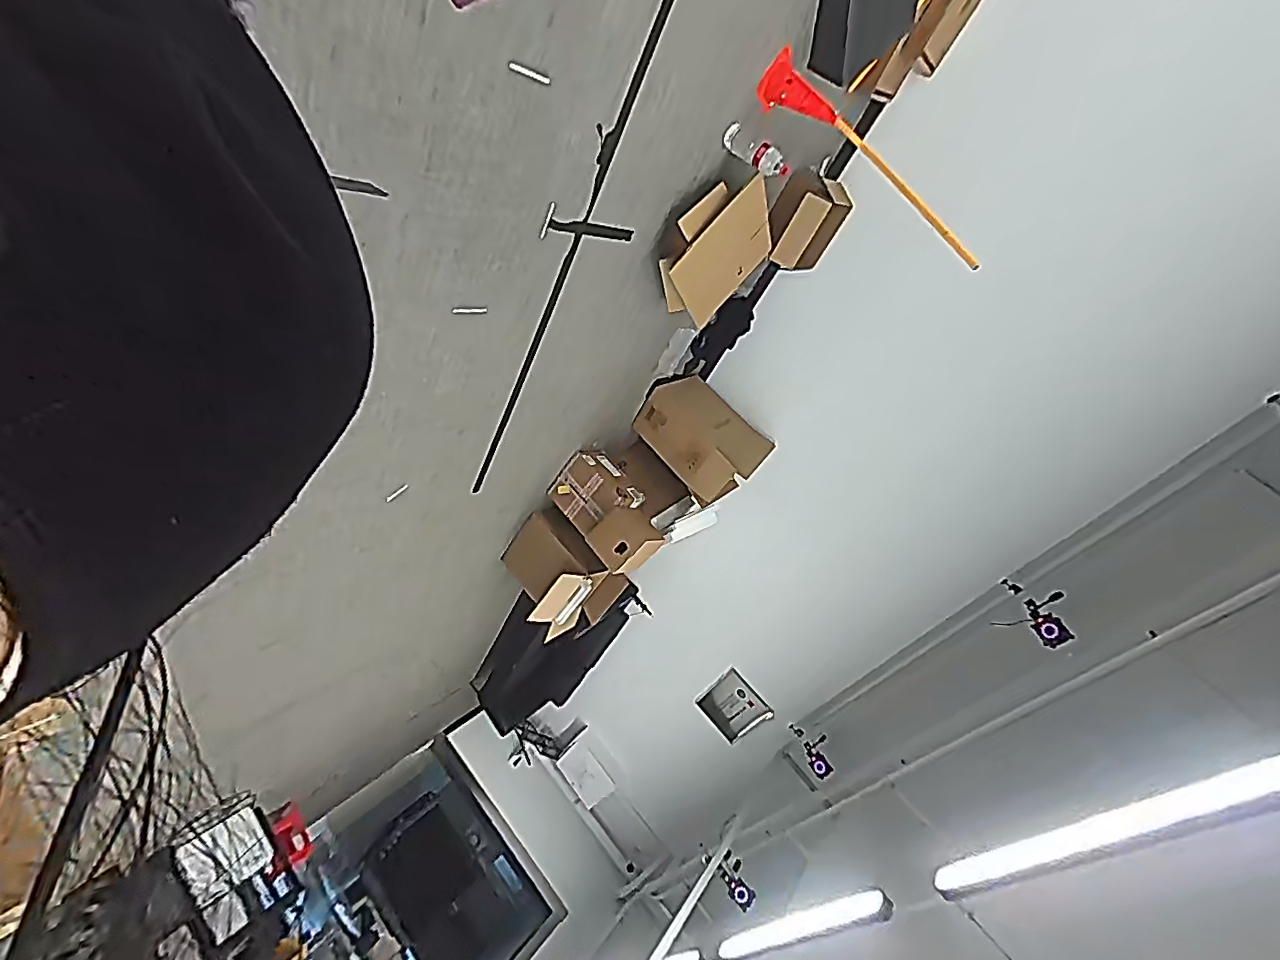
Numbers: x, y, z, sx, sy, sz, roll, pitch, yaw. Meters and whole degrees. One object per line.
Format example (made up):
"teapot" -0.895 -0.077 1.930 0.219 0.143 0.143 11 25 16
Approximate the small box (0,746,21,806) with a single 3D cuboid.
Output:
"small box" -1.824 0.804 1.443 0.179 0.176 0.168 -23 152 -49

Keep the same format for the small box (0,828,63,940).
"small box" -1.601 1.028 1.351 0.179 0.176 0.168 -22 151 -53
